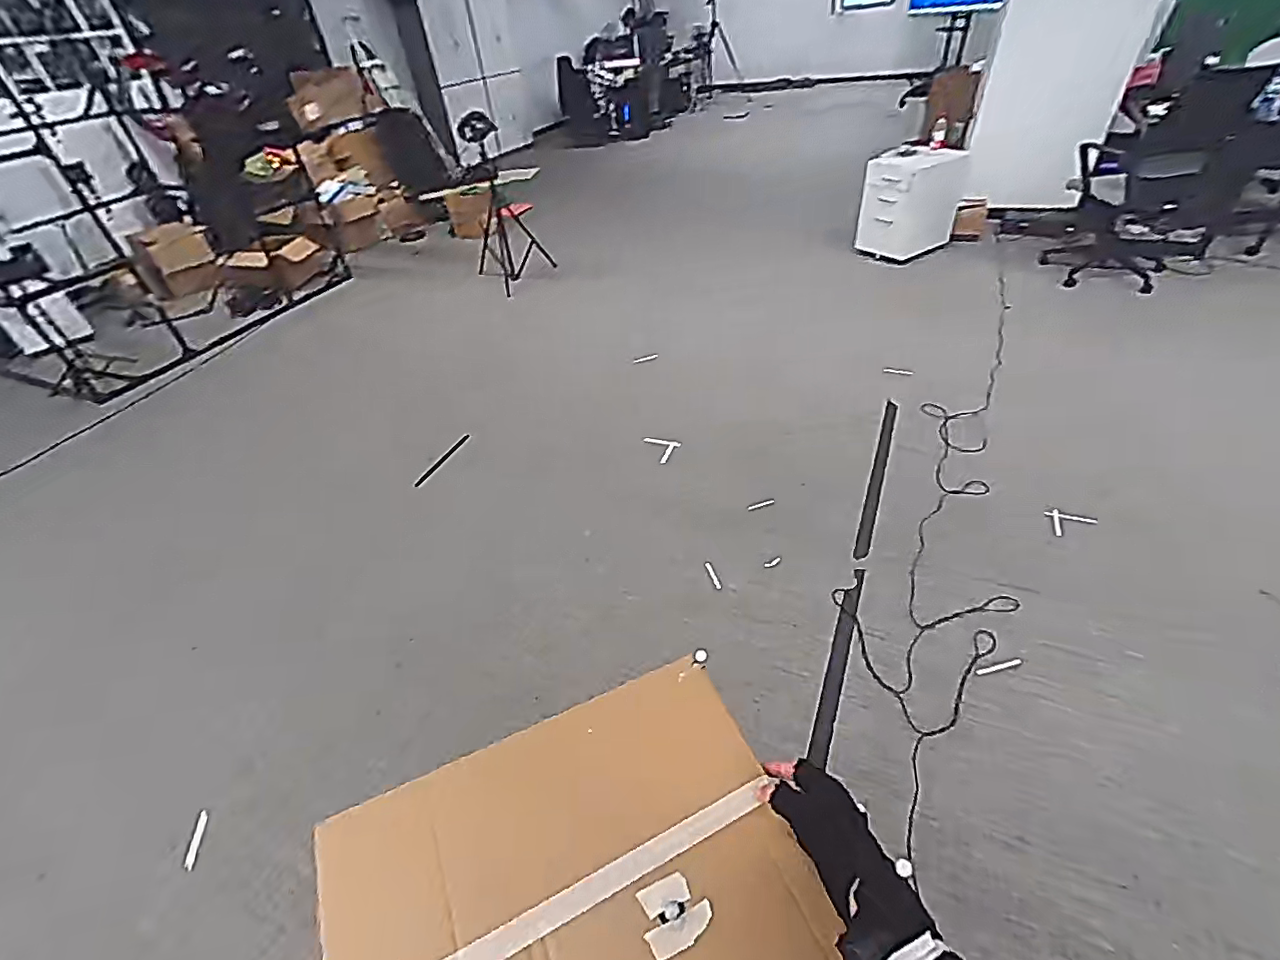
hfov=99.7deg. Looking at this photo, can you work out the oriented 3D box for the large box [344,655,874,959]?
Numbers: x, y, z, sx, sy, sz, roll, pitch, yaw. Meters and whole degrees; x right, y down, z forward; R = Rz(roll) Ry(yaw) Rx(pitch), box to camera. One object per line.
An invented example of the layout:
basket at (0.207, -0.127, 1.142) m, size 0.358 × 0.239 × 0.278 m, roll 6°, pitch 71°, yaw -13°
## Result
large box at (-0.046, 0.468, 0.588) m, size 0.408 × 0.320 × 0.320 m, roll -17°, pitch 48°, yaw -18°
